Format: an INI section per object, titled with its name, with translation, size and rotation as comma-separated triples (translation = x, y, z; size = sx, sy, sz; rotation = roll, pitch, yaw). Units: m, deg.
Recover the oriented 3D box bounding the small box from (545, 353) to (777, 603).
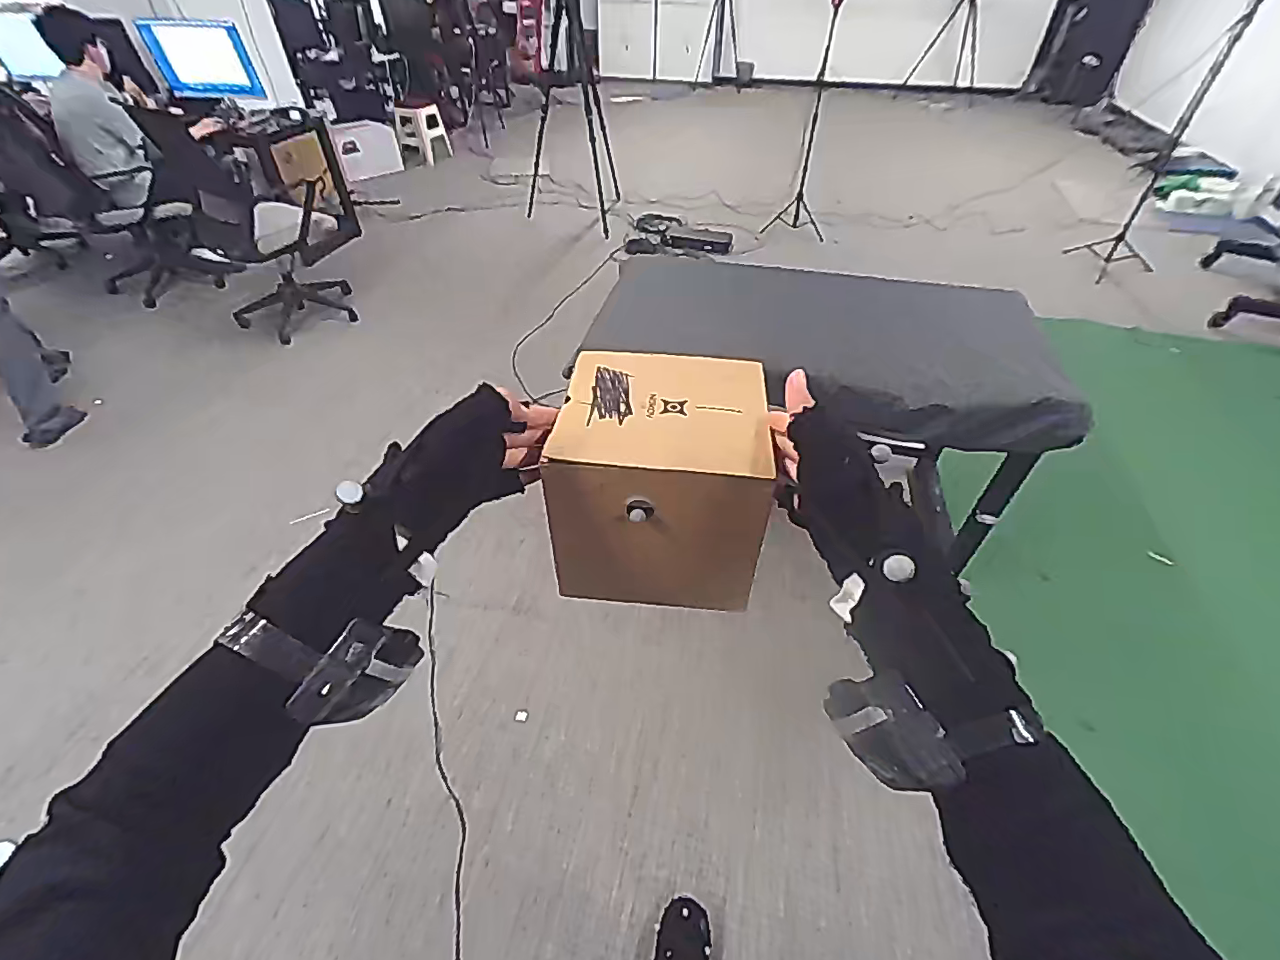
[small box]
translation = 0.022, -0.002, 0.508
size = 0.179, 0.176, 0.168
rotation = 5, 42, 4
